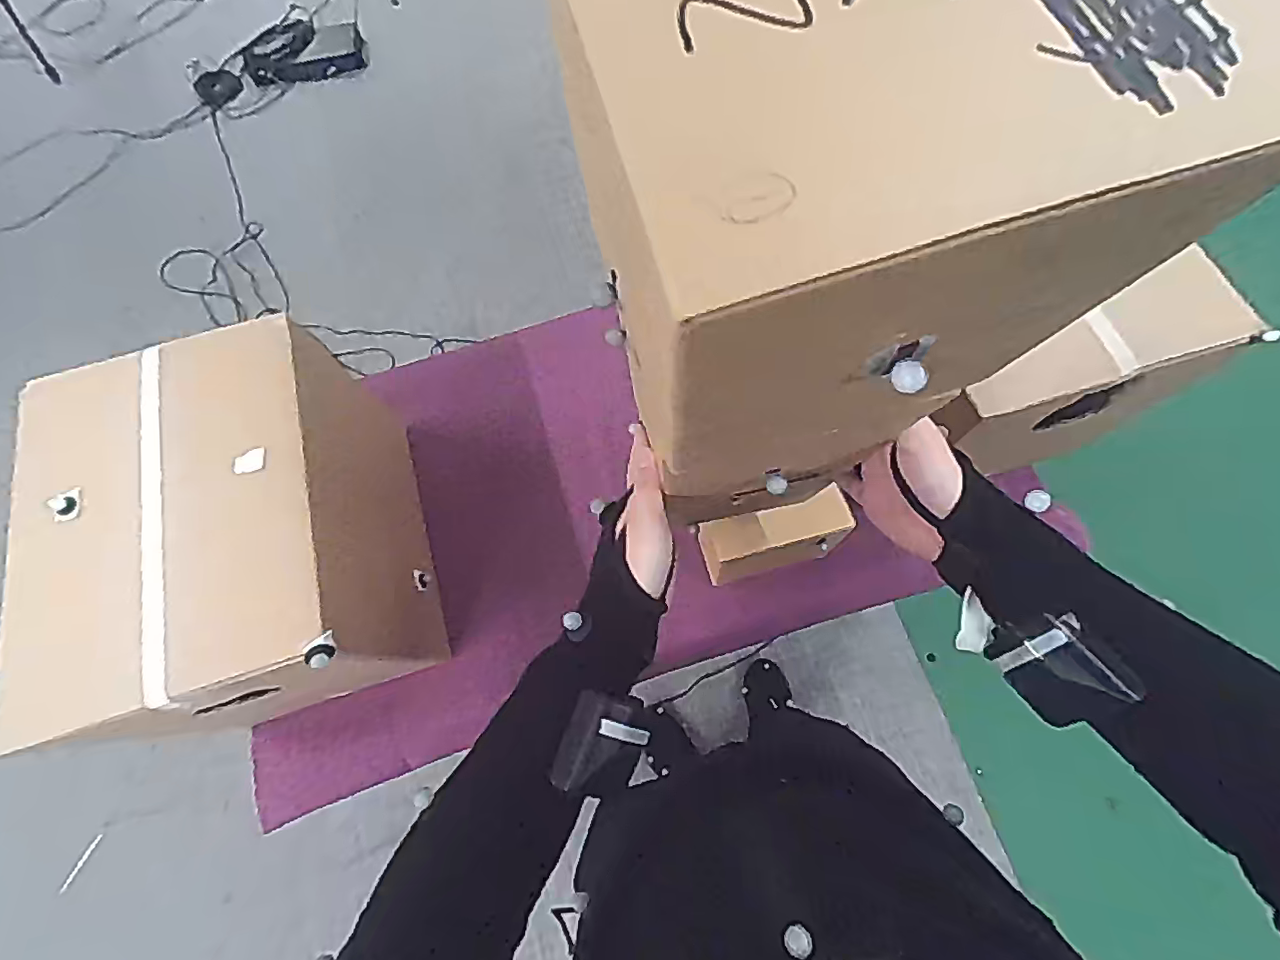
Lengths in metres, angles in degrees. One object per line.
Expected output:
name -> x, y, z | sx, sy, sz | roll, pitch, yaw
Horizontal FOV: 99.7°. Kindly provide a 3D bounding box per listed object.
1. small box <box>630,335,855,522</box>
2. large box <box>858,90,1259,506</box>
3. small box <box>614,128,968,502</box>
small box -> 0.090, -0.059, 0.544 | 0.168, 0.176, 0.179 | -12, 77, 0
large box -> 0.440, -0.226, 0.751 | 0.320, 0.320, 0.408 | -17, 71, -1
small box -> 0.082, -0.096, 0.383 | 0.168, 0.176, 0.179 | -13, 78, 1
